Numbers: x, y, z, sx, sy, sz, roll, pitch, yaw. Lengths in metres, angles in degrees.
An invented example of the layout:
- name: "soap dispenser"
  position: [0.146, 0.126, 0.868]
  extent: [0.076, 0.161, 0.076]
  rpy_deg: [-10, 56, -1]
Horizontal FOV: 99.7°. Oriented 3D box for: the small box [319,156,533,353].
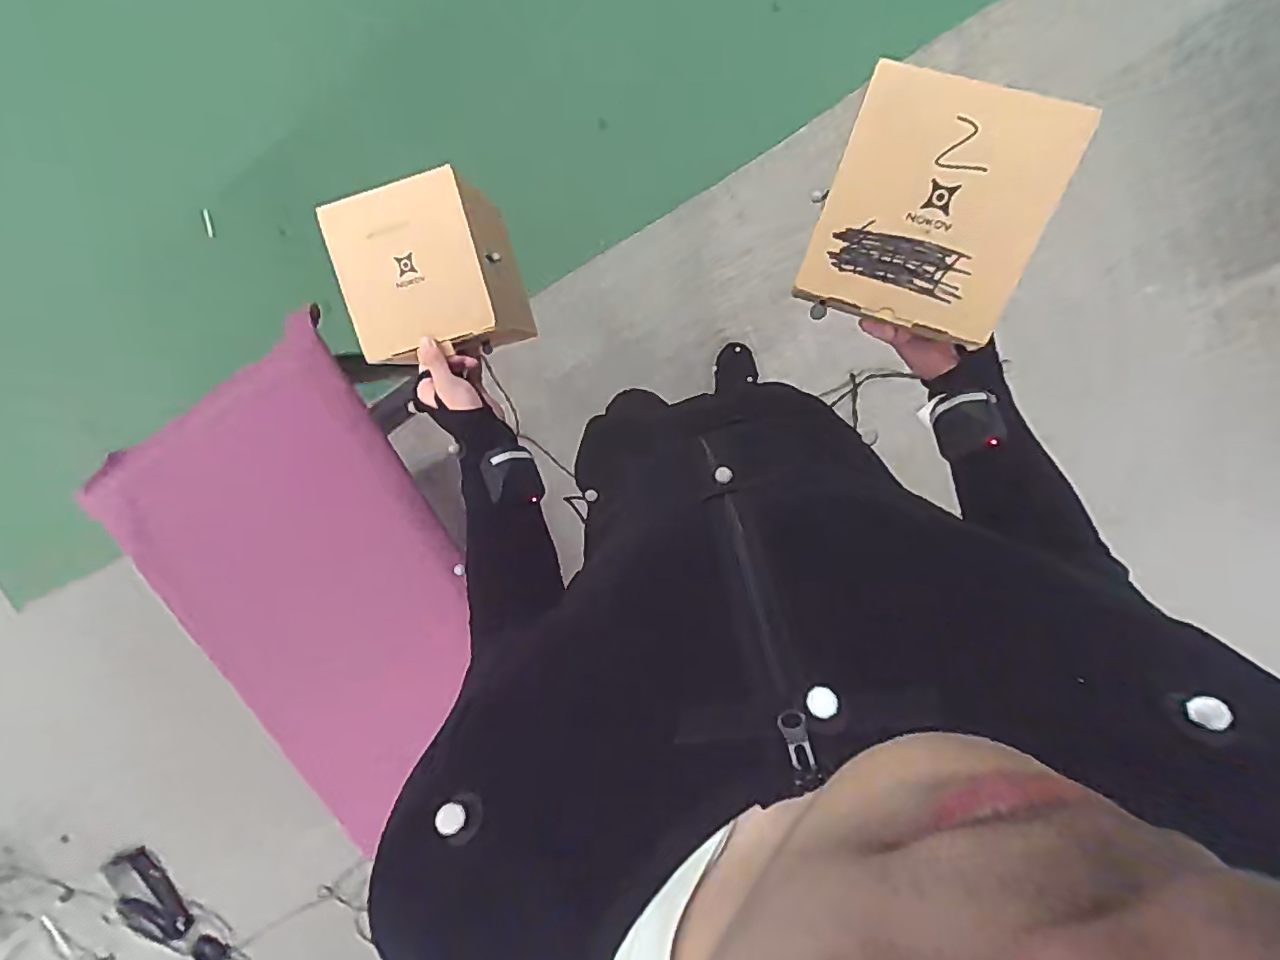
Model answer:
- name: "small box"
  position: [-0.248, -0.263, 0.674]
  extent: [0.168, 0.176, 0.179]
  rpy_deg: [-12, 101, 7]
